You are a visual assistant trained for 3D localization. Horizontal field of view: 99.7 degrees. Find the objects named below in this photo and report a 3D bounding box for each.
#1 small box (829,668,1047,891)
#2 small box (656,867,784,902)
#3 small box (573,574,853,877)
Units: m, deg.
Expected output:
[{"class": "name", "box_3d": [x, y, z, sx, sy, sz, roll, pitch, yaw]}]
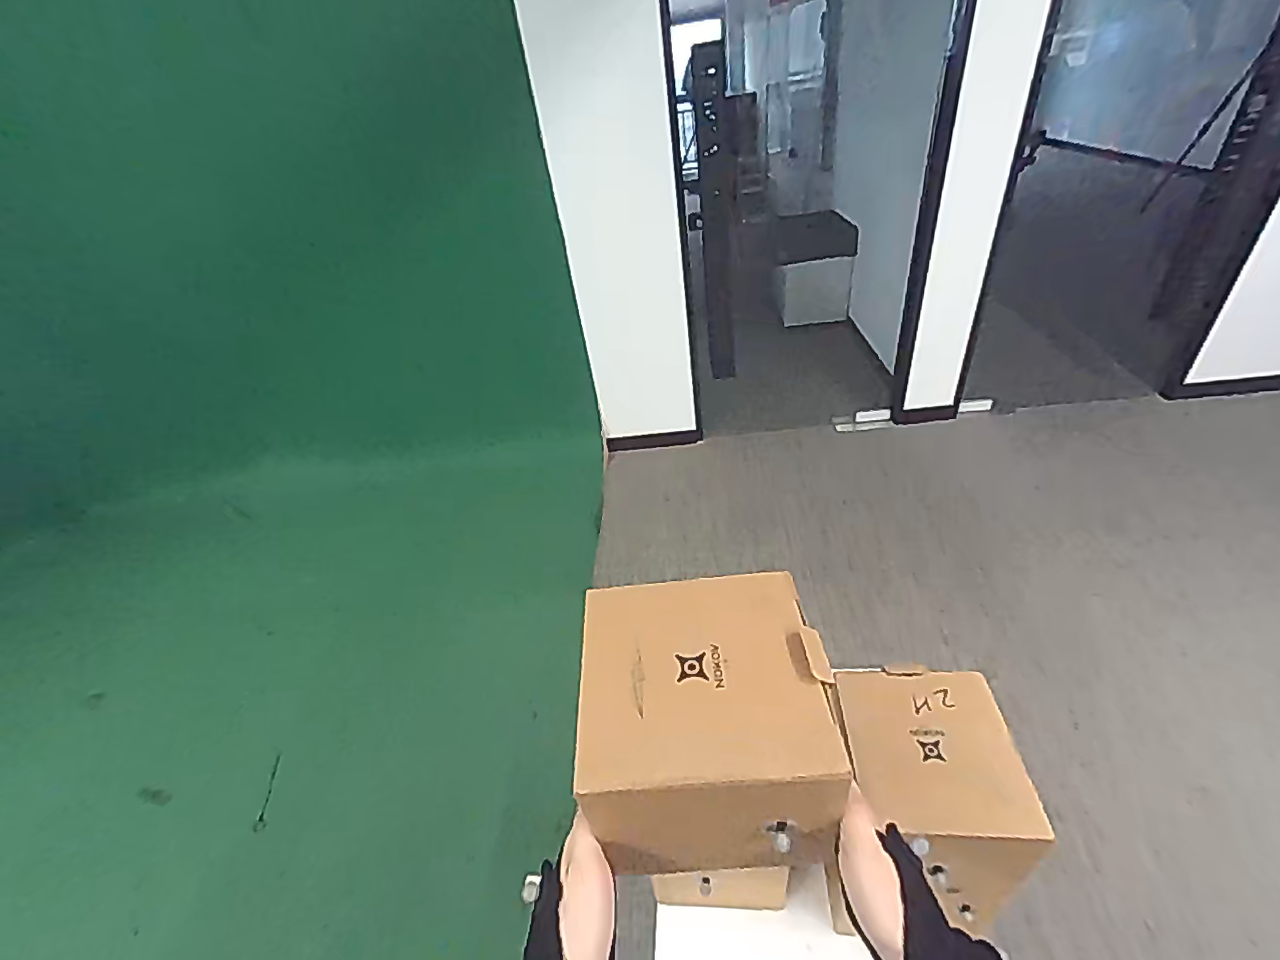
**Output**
[{"class": "small box", "box_3d": [0.314, 0.340, 0.618, 0.168, 0.176, 0.179, -2, 37, 9]}, {"class": "small box", "box_3d": [0.108, 0.472, 0.765, 0.179, 0.176, 0.168, -3, 38, 7]}, {"class": "small box", "box_3d": [0.053, 0.201, 0.443, 0.179, 0.176, 0.168, -7, 39, 4]}]
